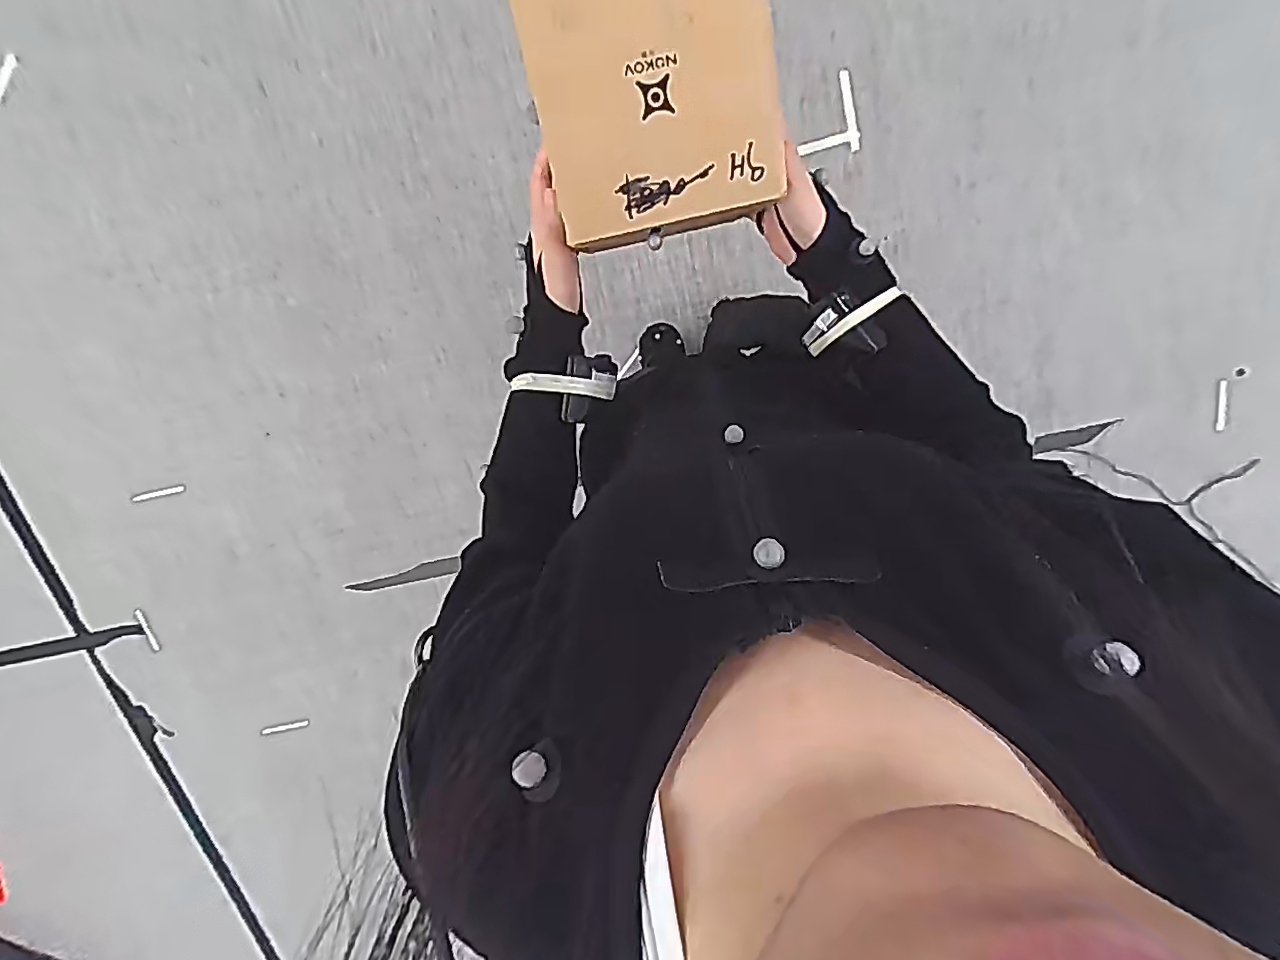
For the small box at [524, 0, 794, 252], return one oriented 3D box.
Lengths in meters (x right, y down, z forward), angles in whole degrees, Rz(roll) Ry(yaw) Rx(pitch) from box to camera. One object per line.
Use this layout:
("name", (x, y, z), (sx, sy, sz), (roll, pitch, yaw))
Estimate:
("small box", (0.011, -0.295, 0.436), (0.168, 0.176, 0.179), (-12, 111, 2))
